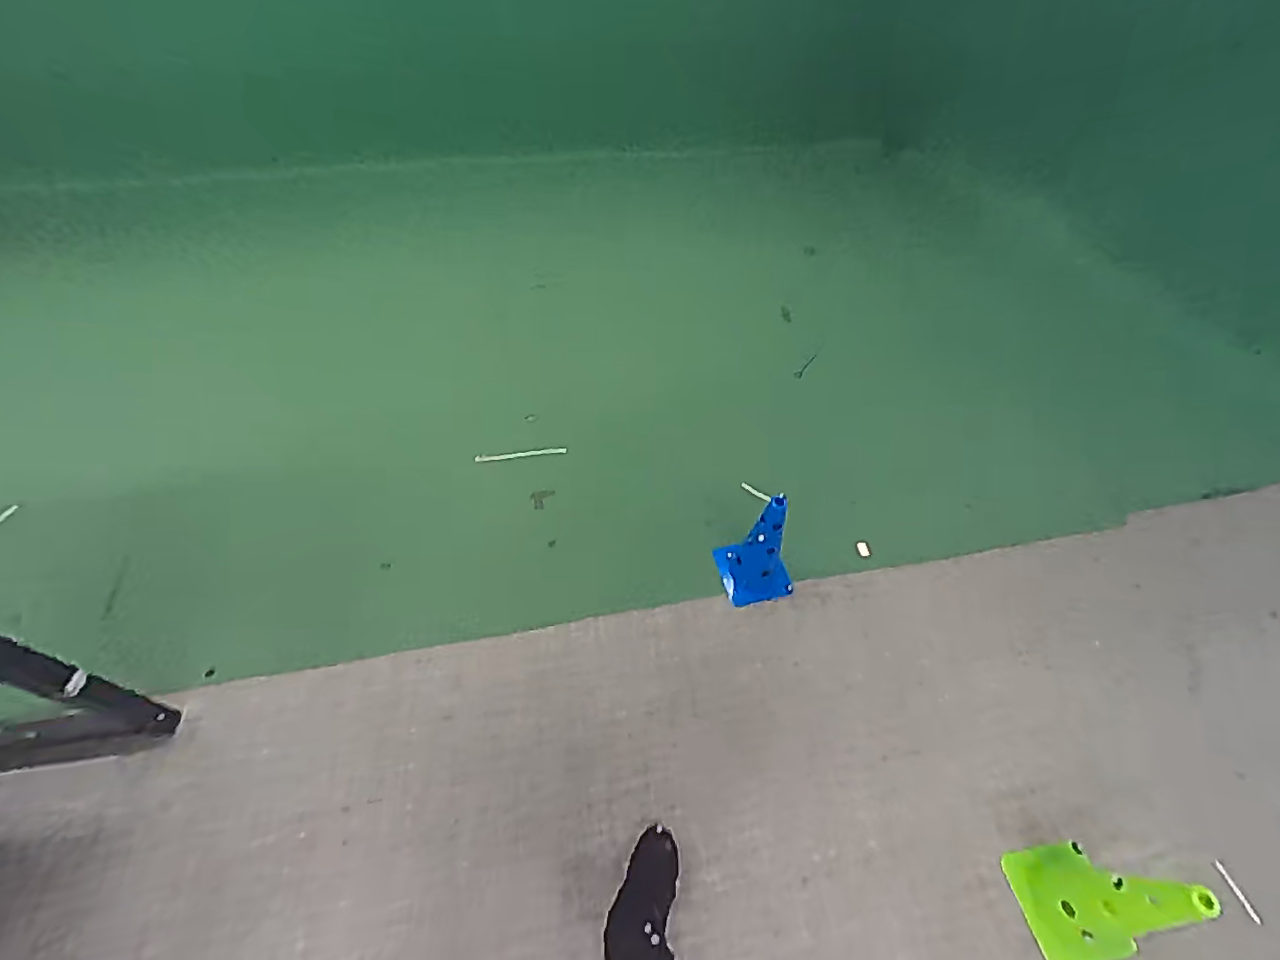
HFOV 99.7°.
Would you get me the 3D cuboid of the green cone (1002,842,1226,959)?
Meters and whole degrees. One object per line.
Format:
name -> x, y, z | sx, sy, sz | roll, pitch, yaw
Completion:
green cone -> 0.901, 0.791, 1.001 | 0.200, 0.368, 0.202 | -8, 53, -8
